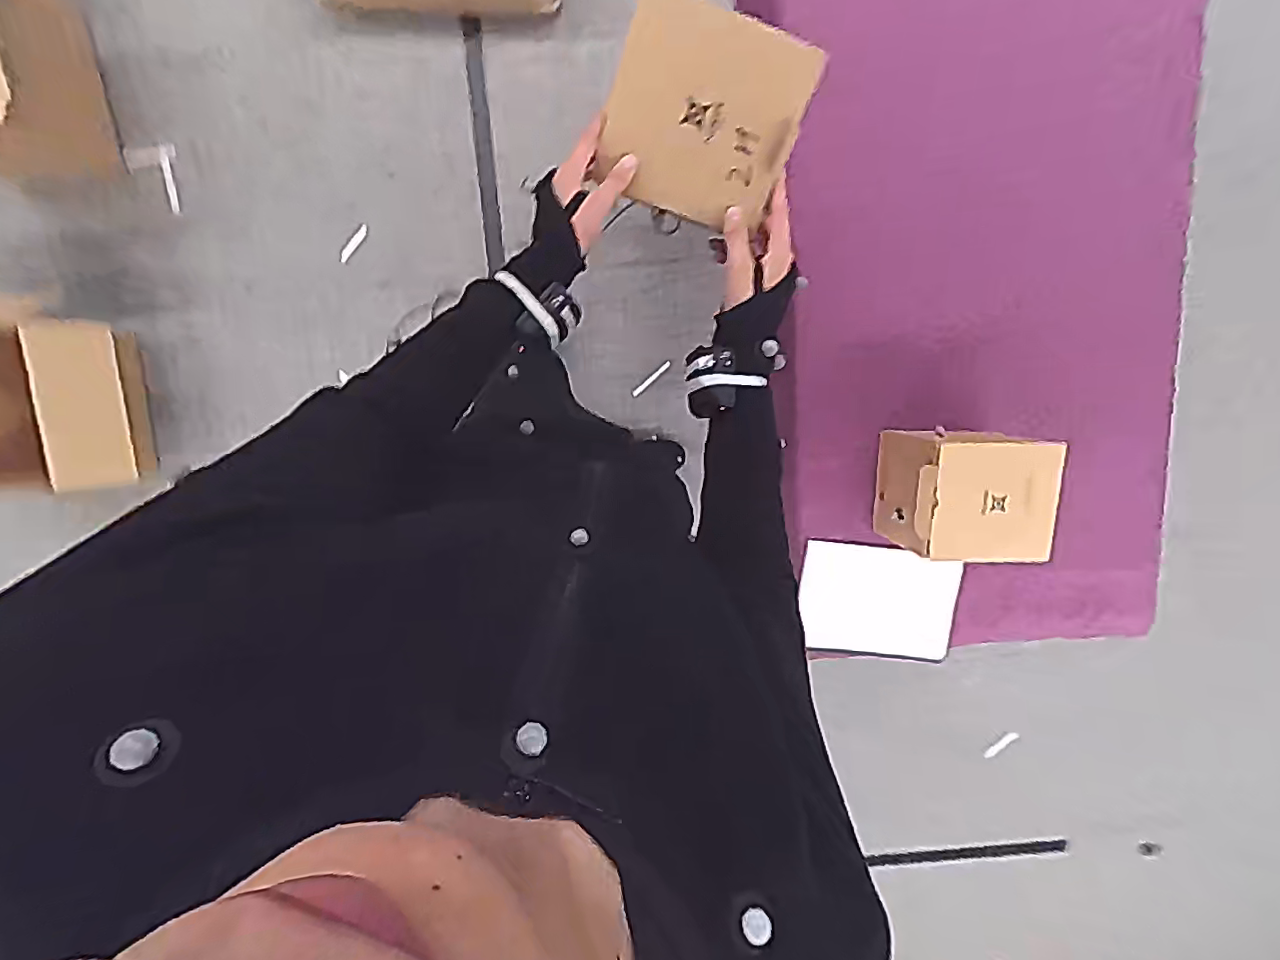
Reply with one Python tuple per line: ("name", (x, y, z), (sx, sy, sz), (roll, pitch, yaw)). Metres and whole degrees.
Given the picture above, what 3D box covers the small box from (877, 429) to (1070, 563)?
("small box", (0.475, 0.016, 0.800), (0.179, 0.176, 0.168), (1, 101, -1))
